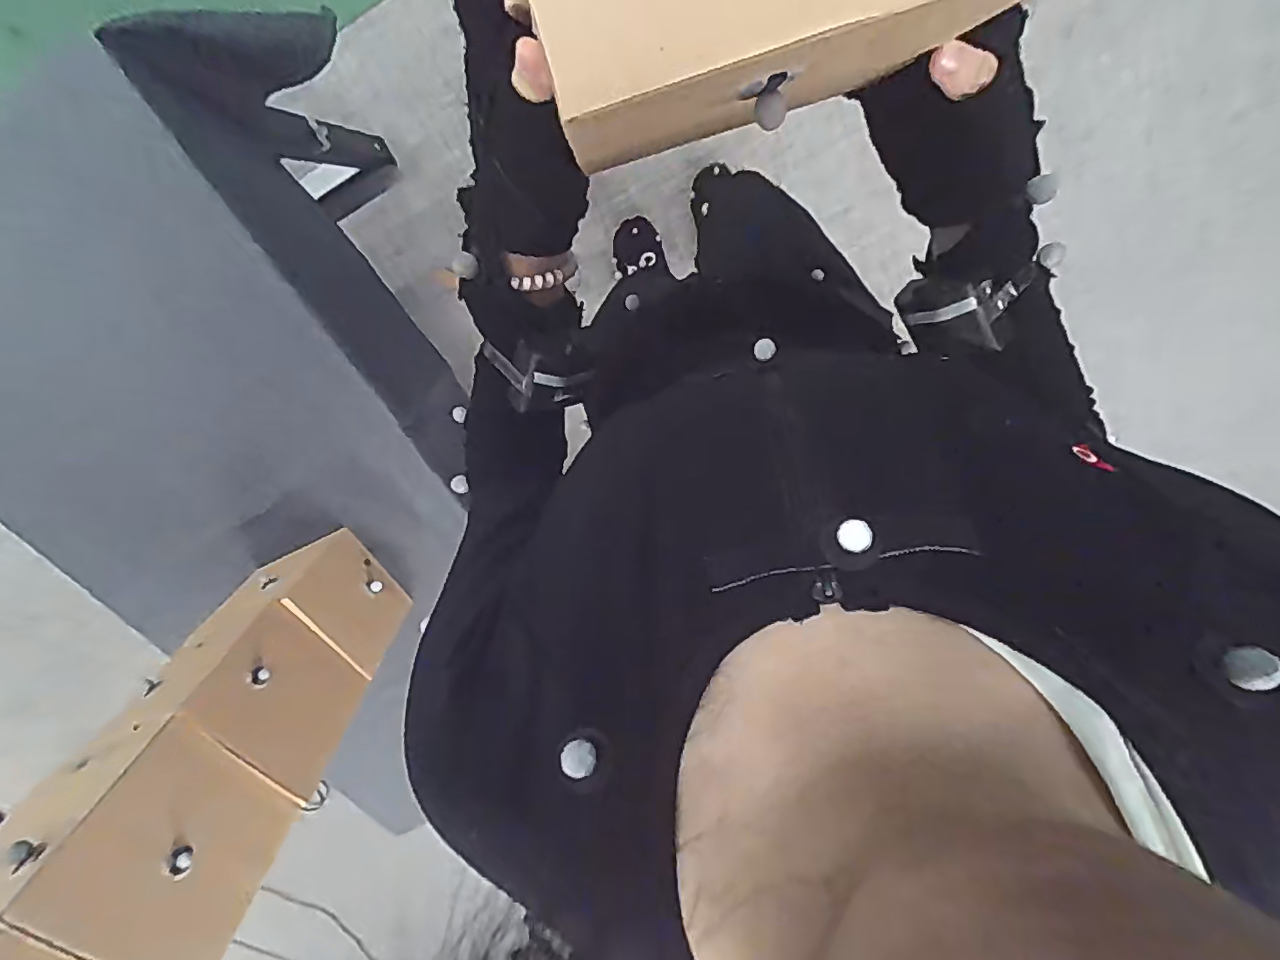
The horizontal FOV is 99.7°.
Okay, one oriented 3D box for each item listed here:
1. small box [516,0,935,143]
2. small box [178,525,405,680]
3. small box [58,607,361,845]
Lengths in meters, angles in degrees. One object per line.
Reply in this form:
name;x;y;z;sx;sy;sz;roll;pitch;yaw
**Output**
small box;0.029;-0.248;0.199;0.179;0.176;0.168;-15;114;3
small box;-0.477;0.195;0.773;0.179;0.176;0.168;-24;115;10
small box;-0.474;0.273;0.630;0.168;0.176;0.179;-26;115;12
